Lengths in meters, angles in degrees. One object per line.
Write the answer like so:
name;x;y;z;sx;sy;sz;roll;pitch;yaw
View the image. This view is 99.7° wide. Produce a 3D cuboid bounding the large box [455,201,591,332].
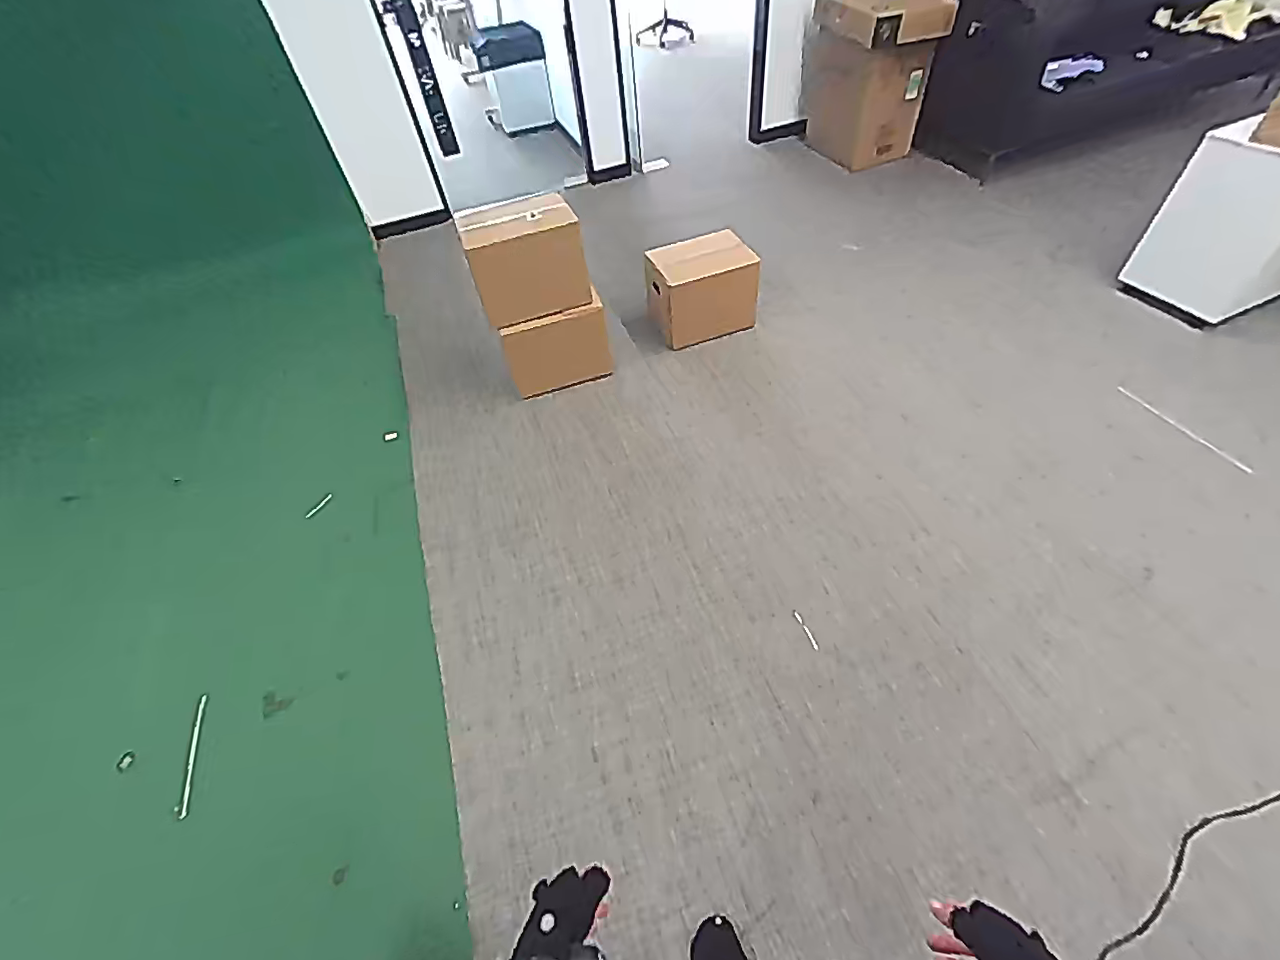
large box;-0.436;-0.803;2.035;0.408;0.320;0.320;-18;47;-10
